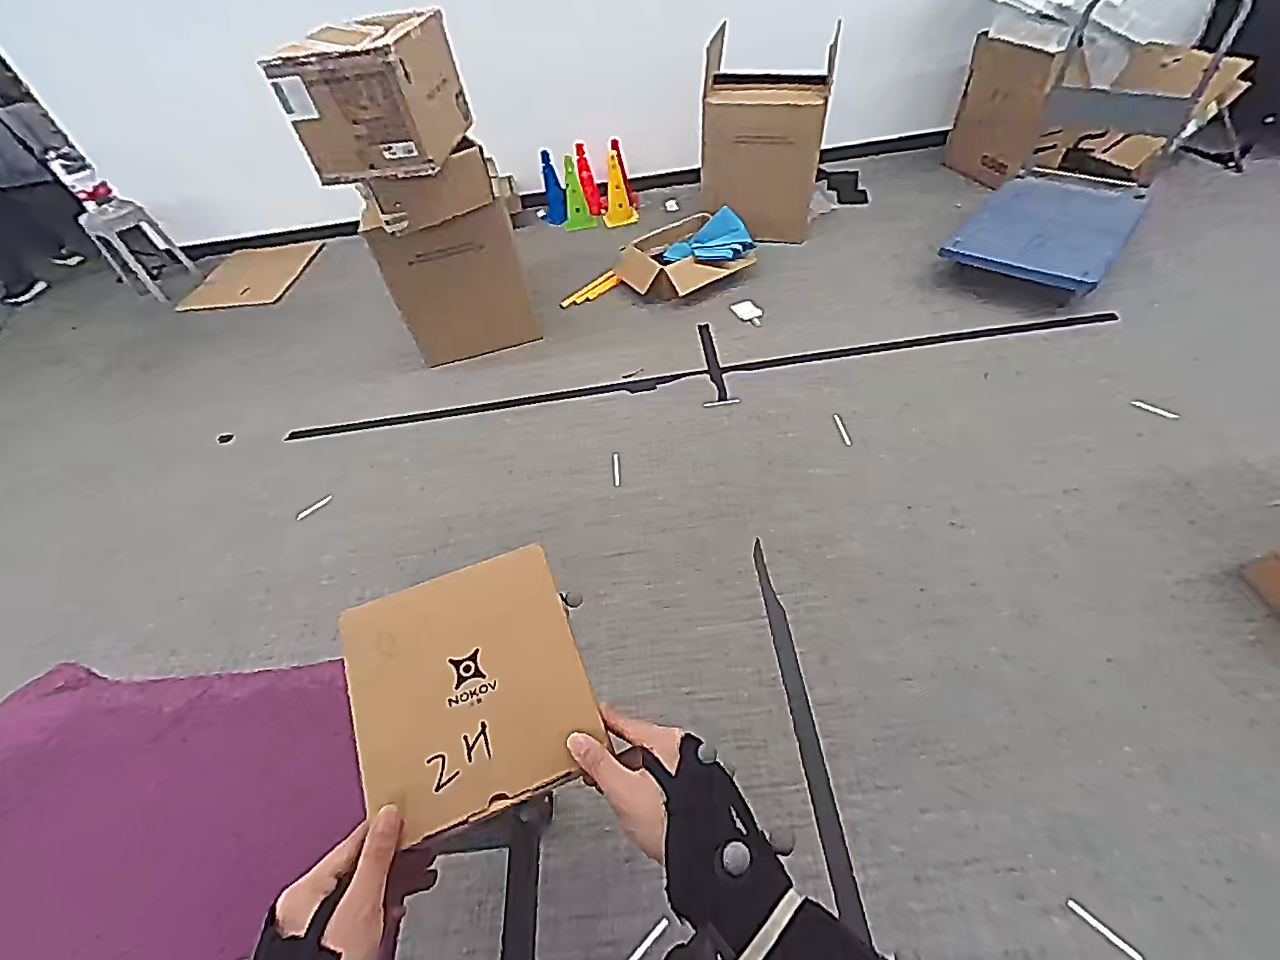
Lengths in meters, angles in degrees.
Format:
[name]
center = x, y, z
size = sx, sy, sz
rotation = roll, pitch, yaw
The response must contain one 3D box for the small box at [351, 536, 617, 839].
[small box]
center = -0.125, 0.180, 0.473
size = 0.168, 0.176, 0.179
rotation = -19, 63, -11
